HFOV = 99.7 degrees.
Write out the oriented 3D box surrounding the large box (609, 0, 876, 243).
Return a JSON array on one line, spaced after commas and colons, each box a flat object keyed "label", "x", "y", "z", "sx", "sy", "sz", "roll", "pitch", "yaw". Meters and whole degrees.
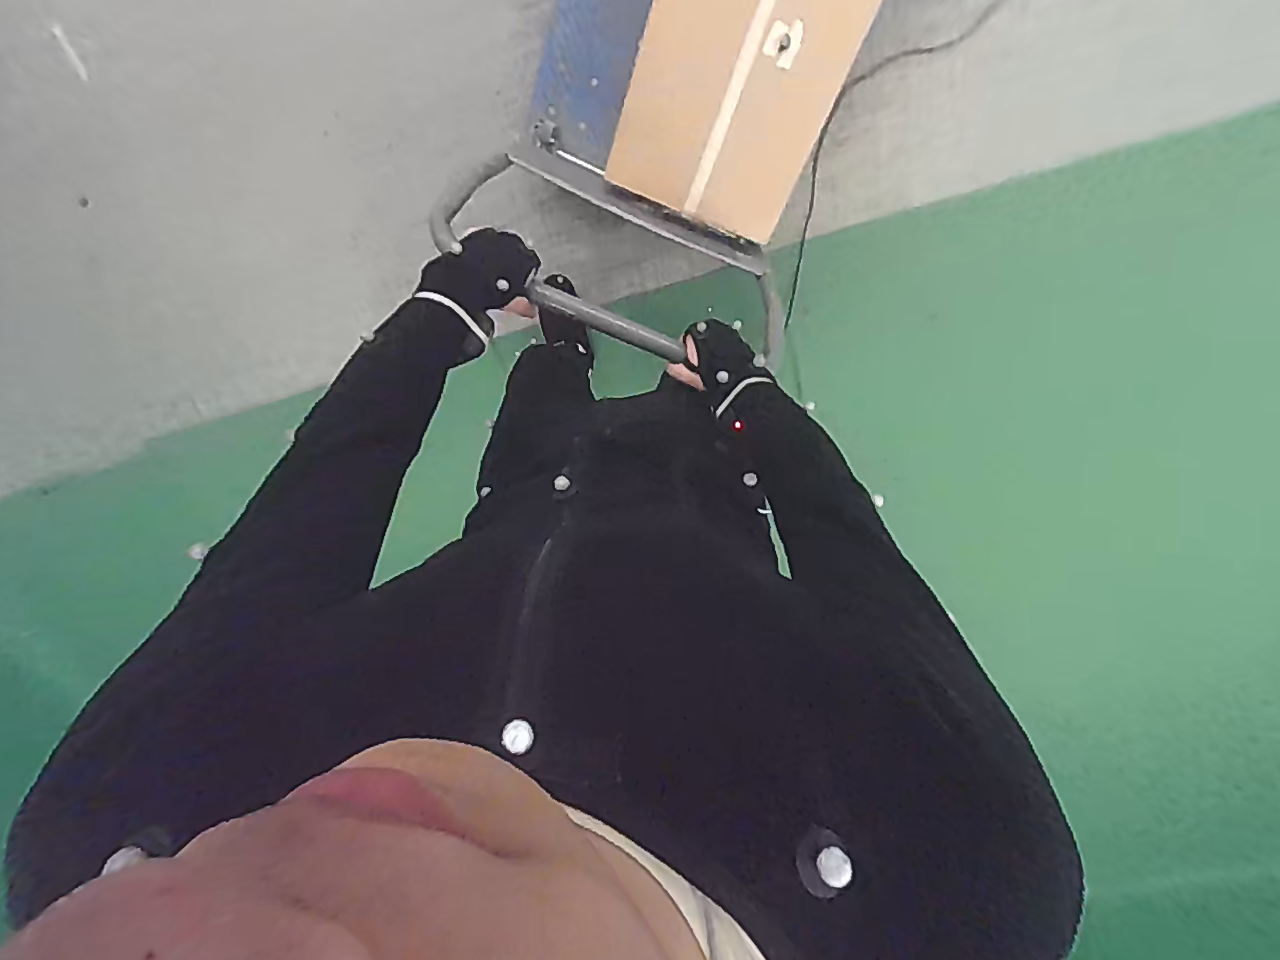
[{"label": "large box", "x": 0.160, "y": -0.712, "z": 0.989, "sx": 0.320, "sy": 0.320, "sz": 0.408, "roll": 19, "pitch": 123, "yaw": -9}]
